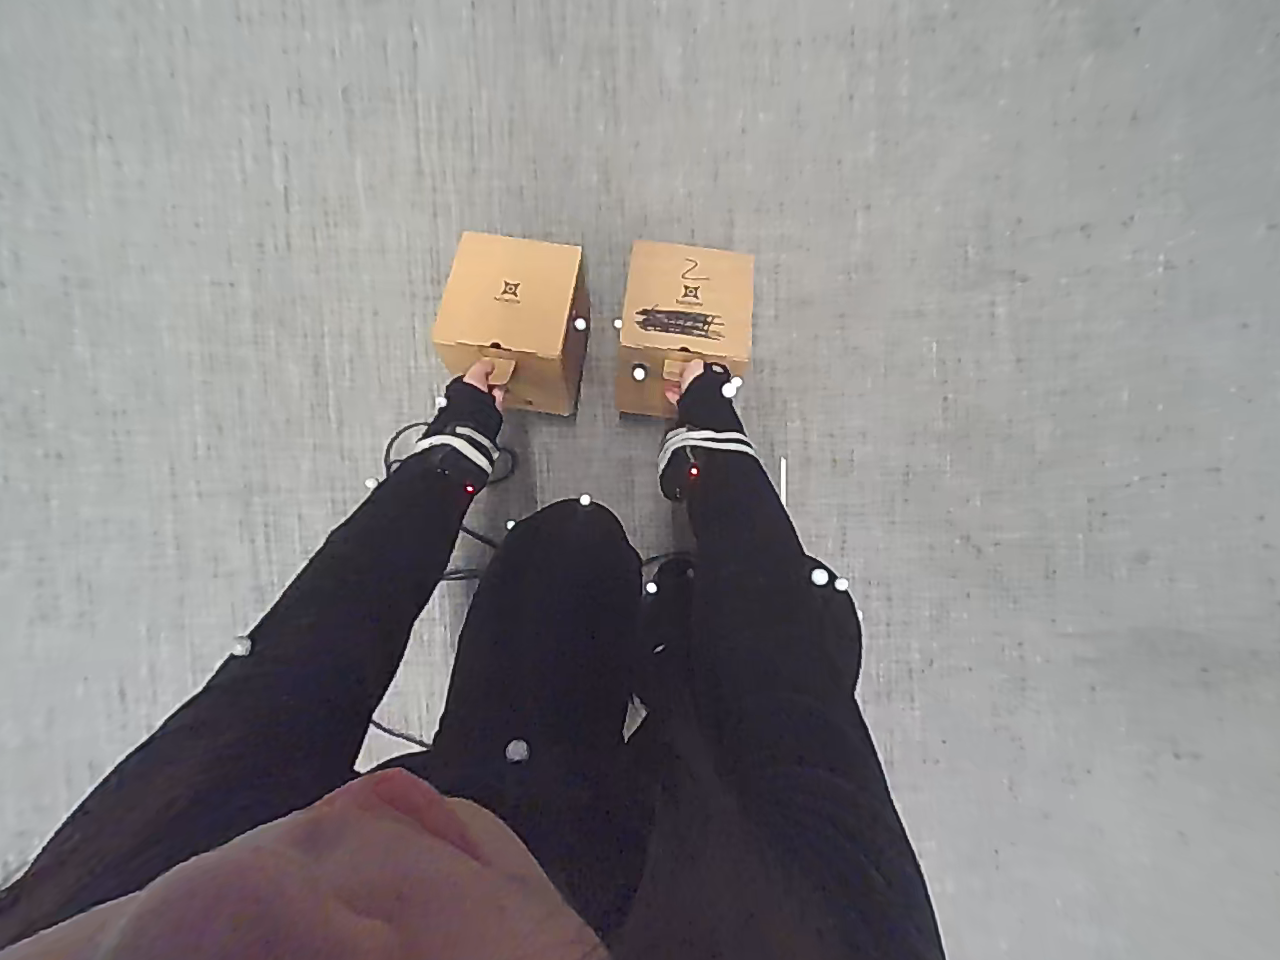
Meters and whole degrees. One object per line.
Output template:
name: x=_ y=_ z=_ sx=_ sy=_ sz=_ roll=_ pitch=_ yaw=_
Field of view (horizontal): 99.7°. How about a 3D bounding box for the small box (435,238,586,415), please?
small box: x=-0.174 y=-0.216 z=0.790 sx=0.168 sy=0.176 sz=0.179 roll=7 pitch=73 yaw=1
